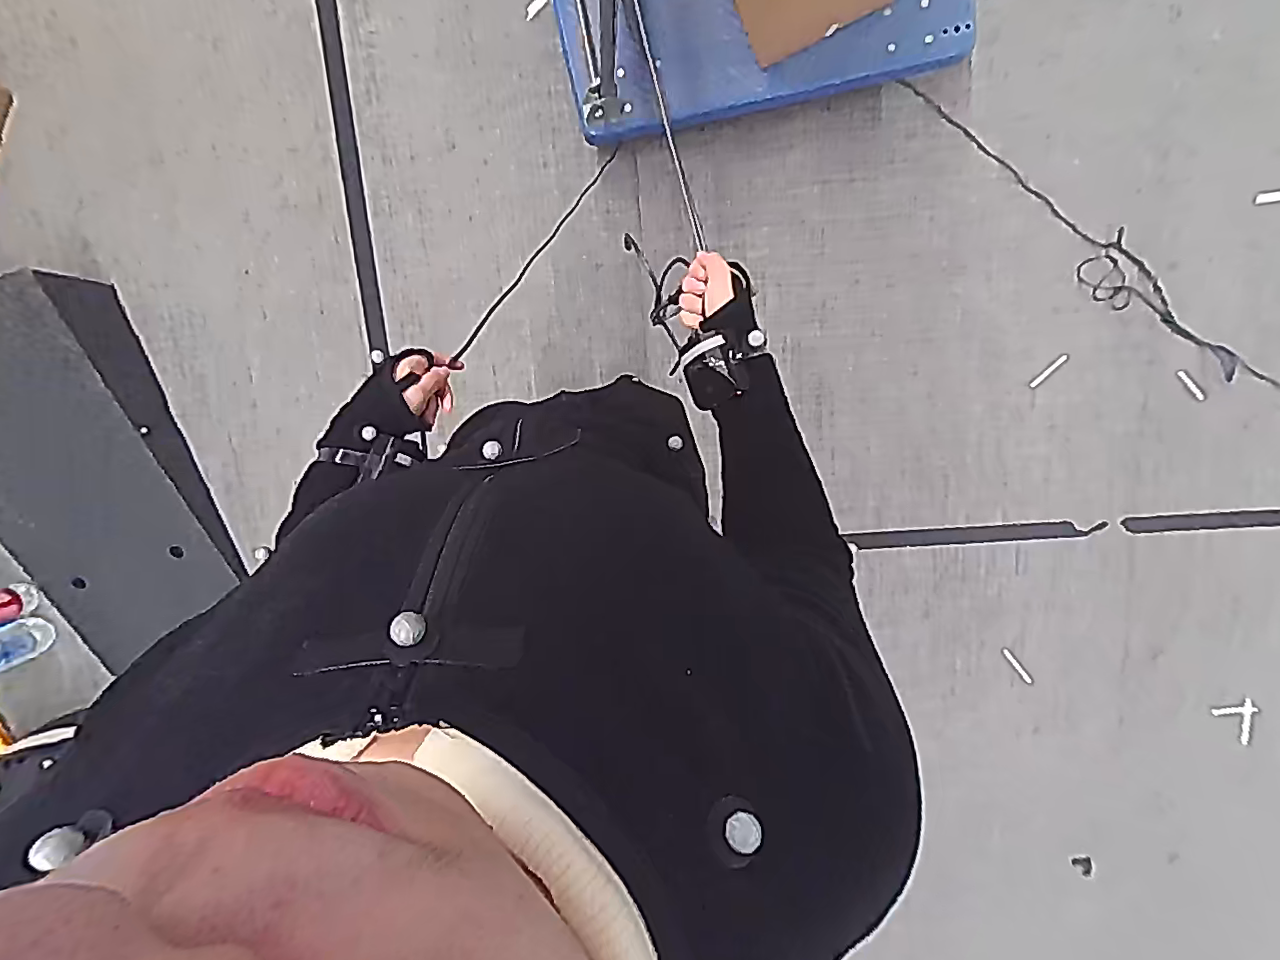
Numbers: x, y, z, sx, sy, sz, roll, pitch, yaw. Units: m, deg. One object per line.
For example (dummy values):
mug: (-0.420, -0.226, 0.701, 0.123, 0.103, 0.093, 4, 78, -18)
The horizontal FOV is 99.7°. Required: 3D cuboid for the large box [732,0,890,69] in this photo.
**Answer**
large box: (0.311, -1.090, 0.974, 0.320, 0.320, 0.408, -26, 100, 4)
